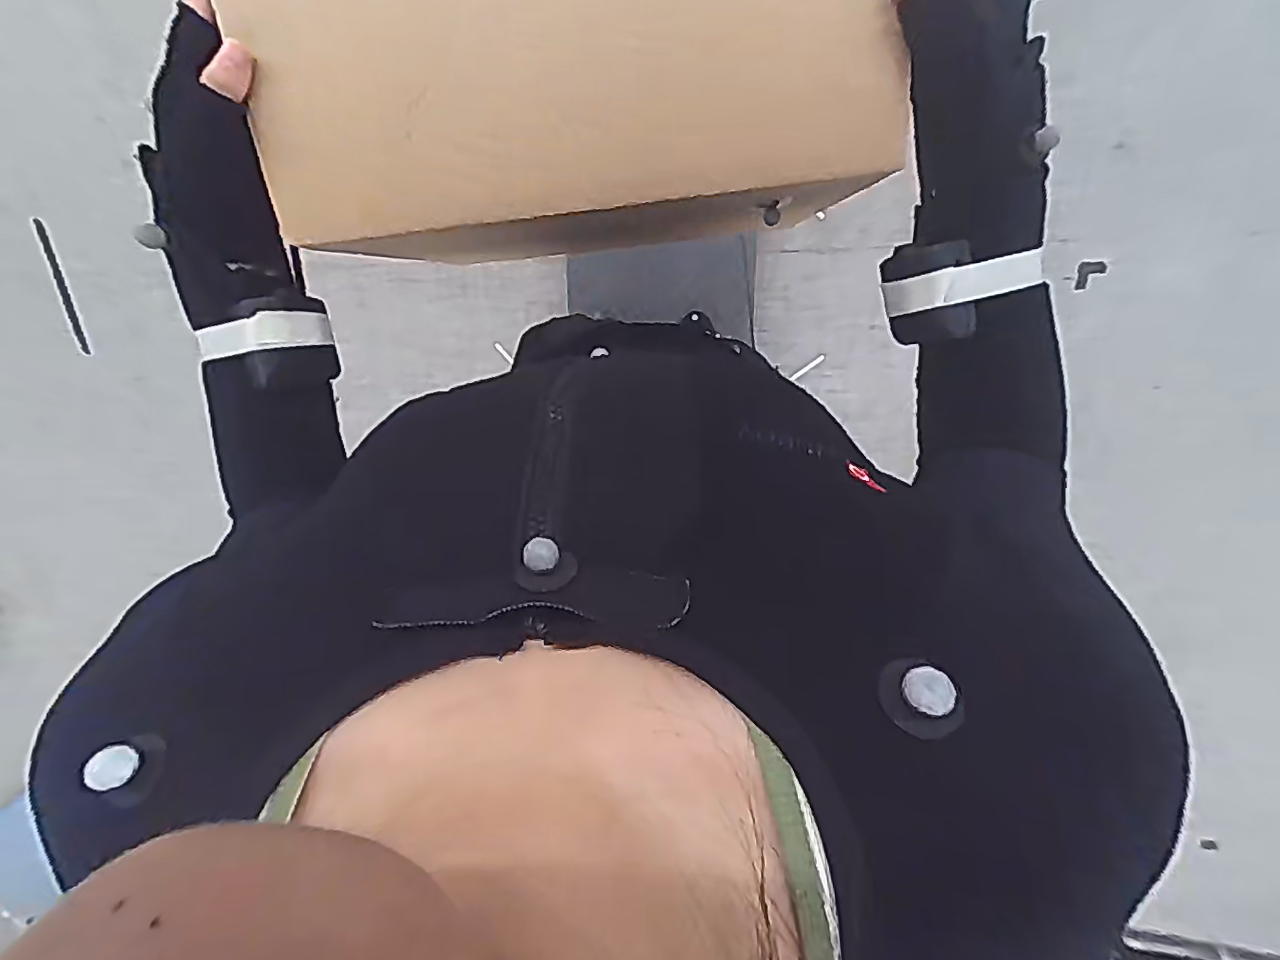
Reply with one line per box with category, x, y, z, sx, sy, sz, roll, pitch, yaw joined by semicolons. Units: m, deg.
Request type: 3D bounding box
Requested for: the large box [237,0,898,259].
large box;-0.043;-0.375;0.451;0.408;0.320;0.320;-5;109;5
